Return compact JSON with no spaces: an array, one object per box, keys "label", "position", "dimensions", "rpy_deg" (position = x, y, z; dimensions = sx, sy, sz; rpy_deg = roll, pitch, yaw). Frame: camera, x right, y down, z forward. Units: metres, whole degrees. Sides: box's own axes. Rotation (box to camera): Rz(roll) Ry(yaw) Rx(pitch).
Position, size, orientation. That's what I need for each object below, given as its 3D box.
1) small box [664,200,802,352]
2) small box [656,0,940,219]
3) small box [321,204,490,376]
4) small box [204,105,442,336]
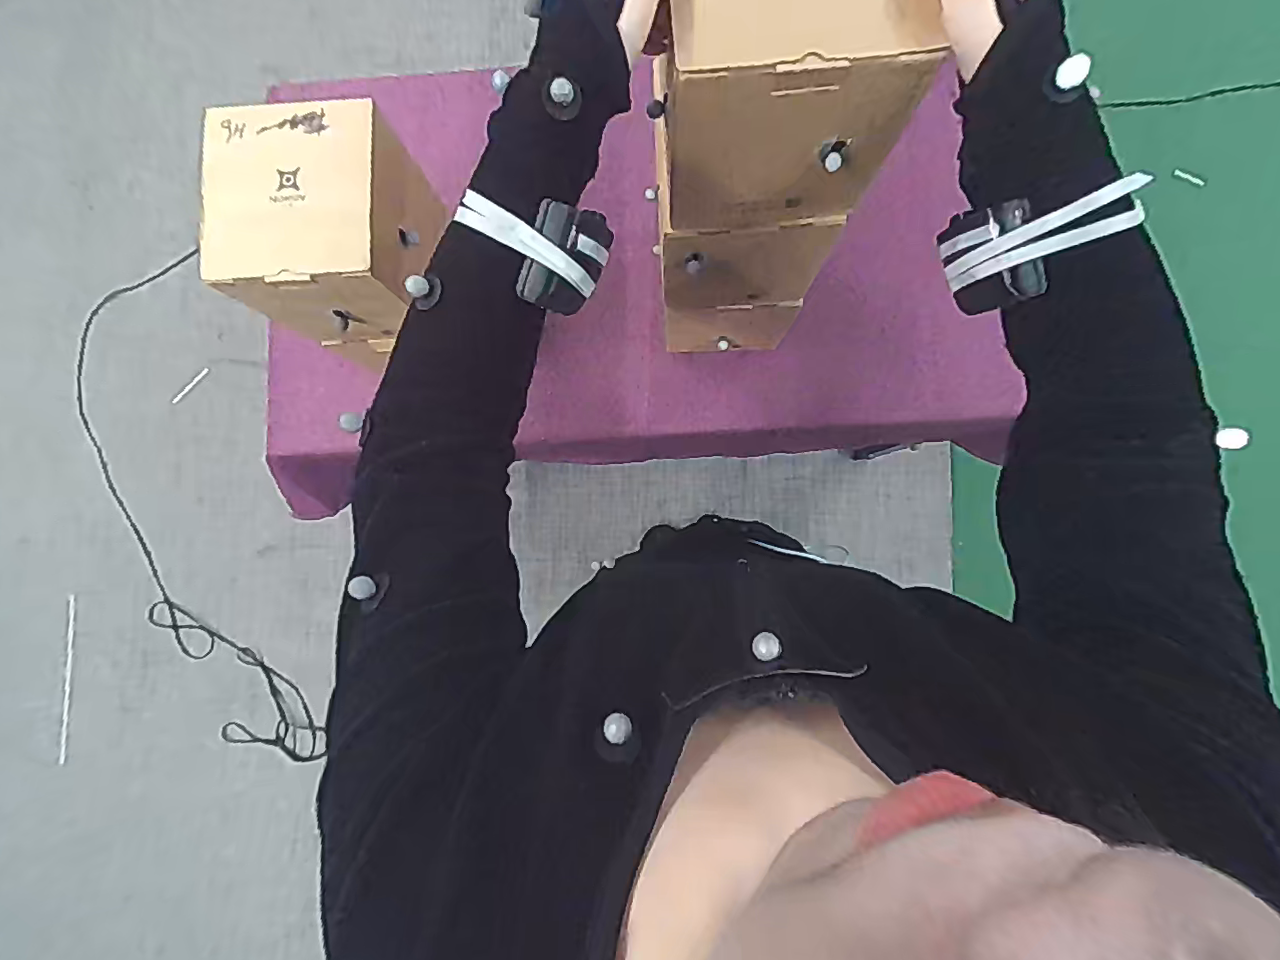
[{"label":"small box","position":[0.116,-0.286,0.735],"dimensions":[0.168,0.176,0.179],"rpy_deg":[-1,86,3]},{"label":"small box","position":[0.097,-0.320,0.410],"dimensions":[0.168,0.176,0.179],"rpy_deg":[-3,85,2]},{"label":"small box","position":[-0.316,-0.250,0.755],"dimensions":[0.168,0.176,0.179],"rpy_deg":[-4,84,2]},{"label":"small box","position":[-0.328,-0.263,0.591],"dimensions":[0.168,0.176,0.179],"rpy_deg":[-2,86,2]}]
